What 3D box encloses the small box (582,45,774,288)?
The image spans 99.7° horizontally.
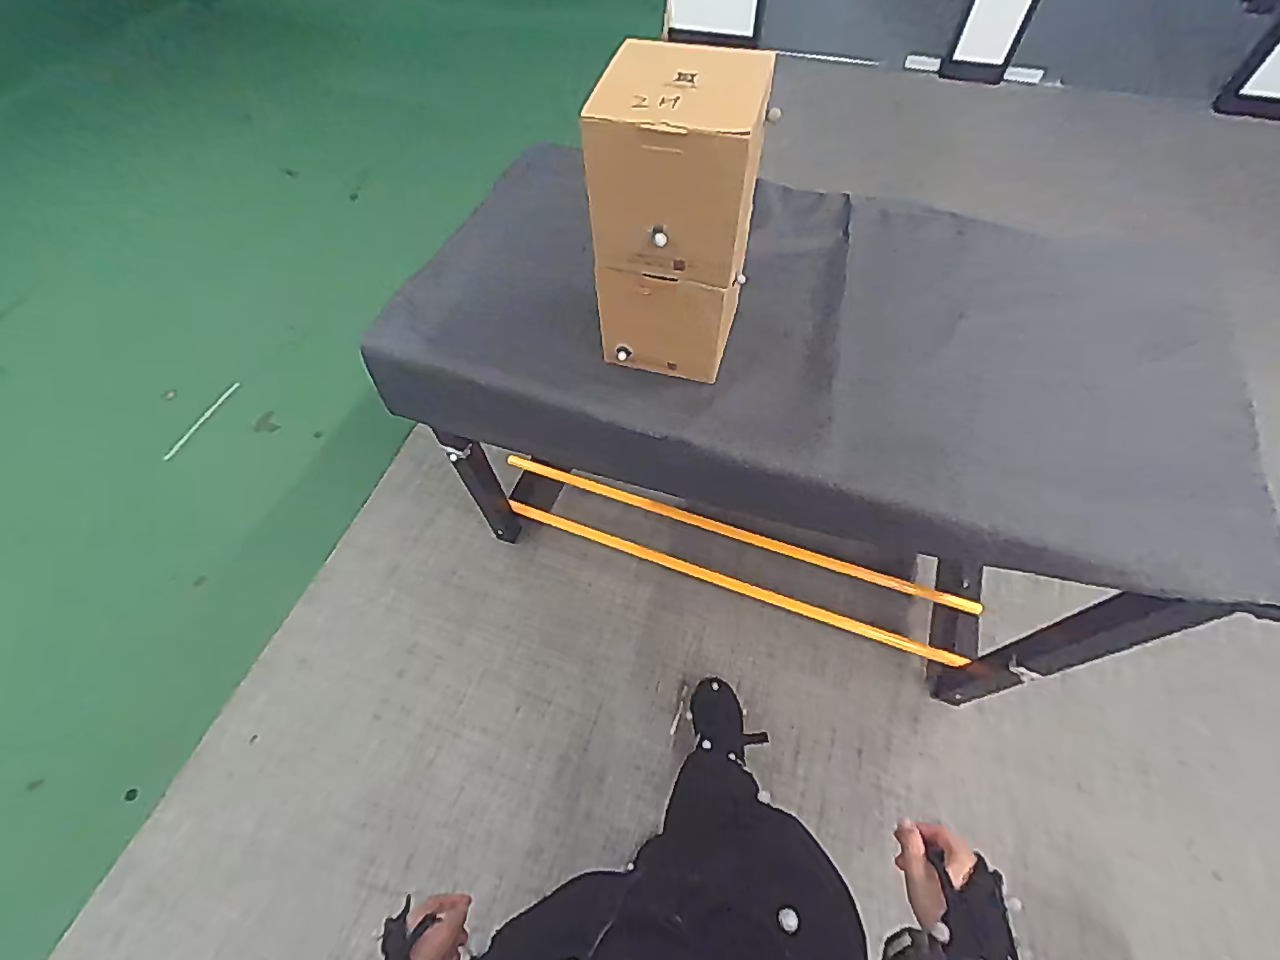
[{"bbox_3d":[0.045,-0.350,0.612,0.168,0.176,0.179,12,60,9],"label":"small box"}]

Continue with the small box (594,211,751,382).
[{"bbox_3d":[0.048,-0.263,0.751,0.168,0.176,0.179,14,59,9],"label":"small box"}]
